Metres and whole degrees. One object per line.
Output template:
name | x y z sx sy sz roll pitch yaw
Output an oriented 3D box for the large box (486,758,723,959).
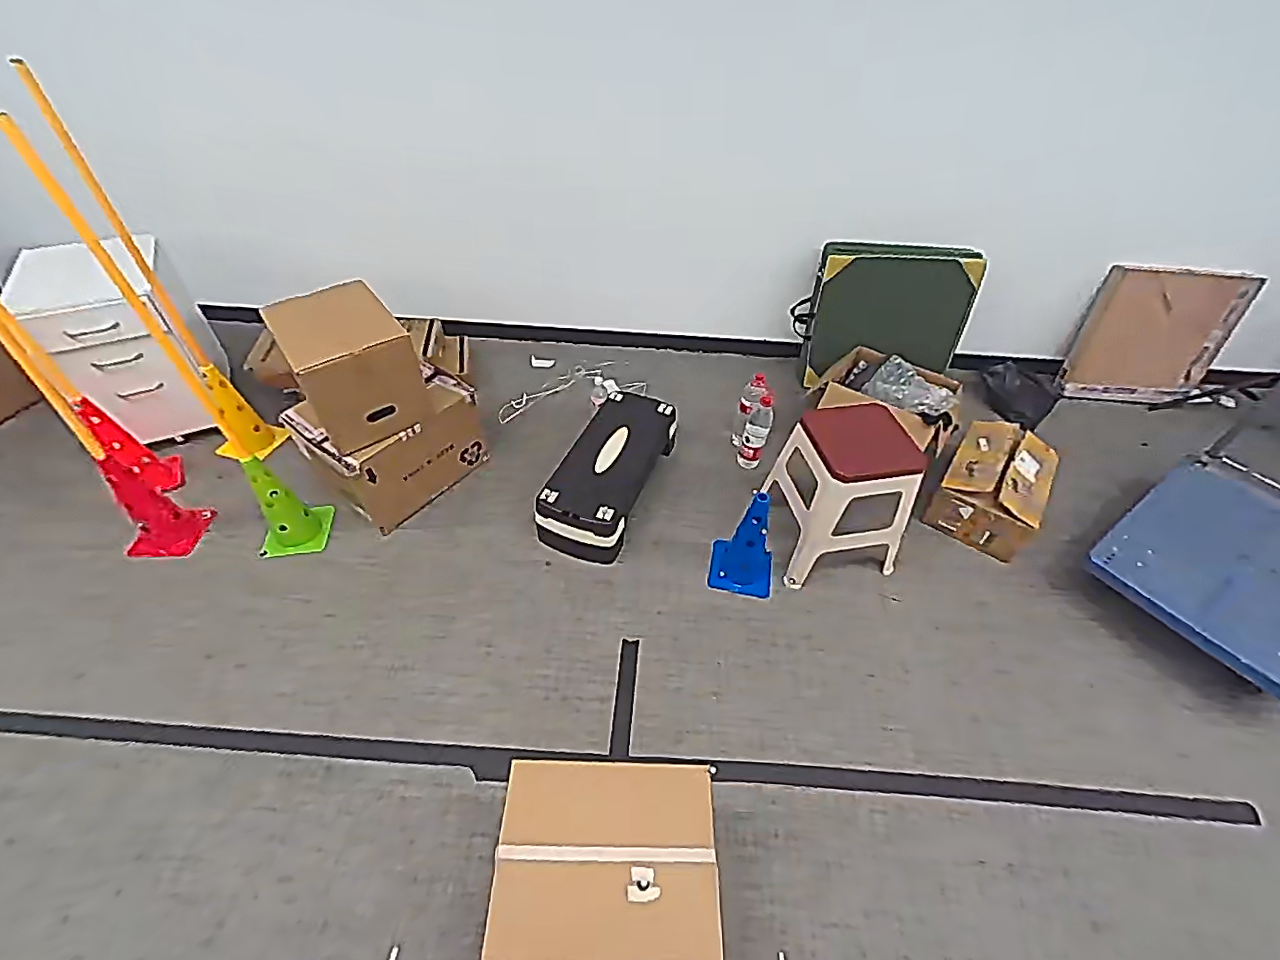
large box | -0.069 0.788 1.105 0.408 0.320 0.320 3 47 -2
